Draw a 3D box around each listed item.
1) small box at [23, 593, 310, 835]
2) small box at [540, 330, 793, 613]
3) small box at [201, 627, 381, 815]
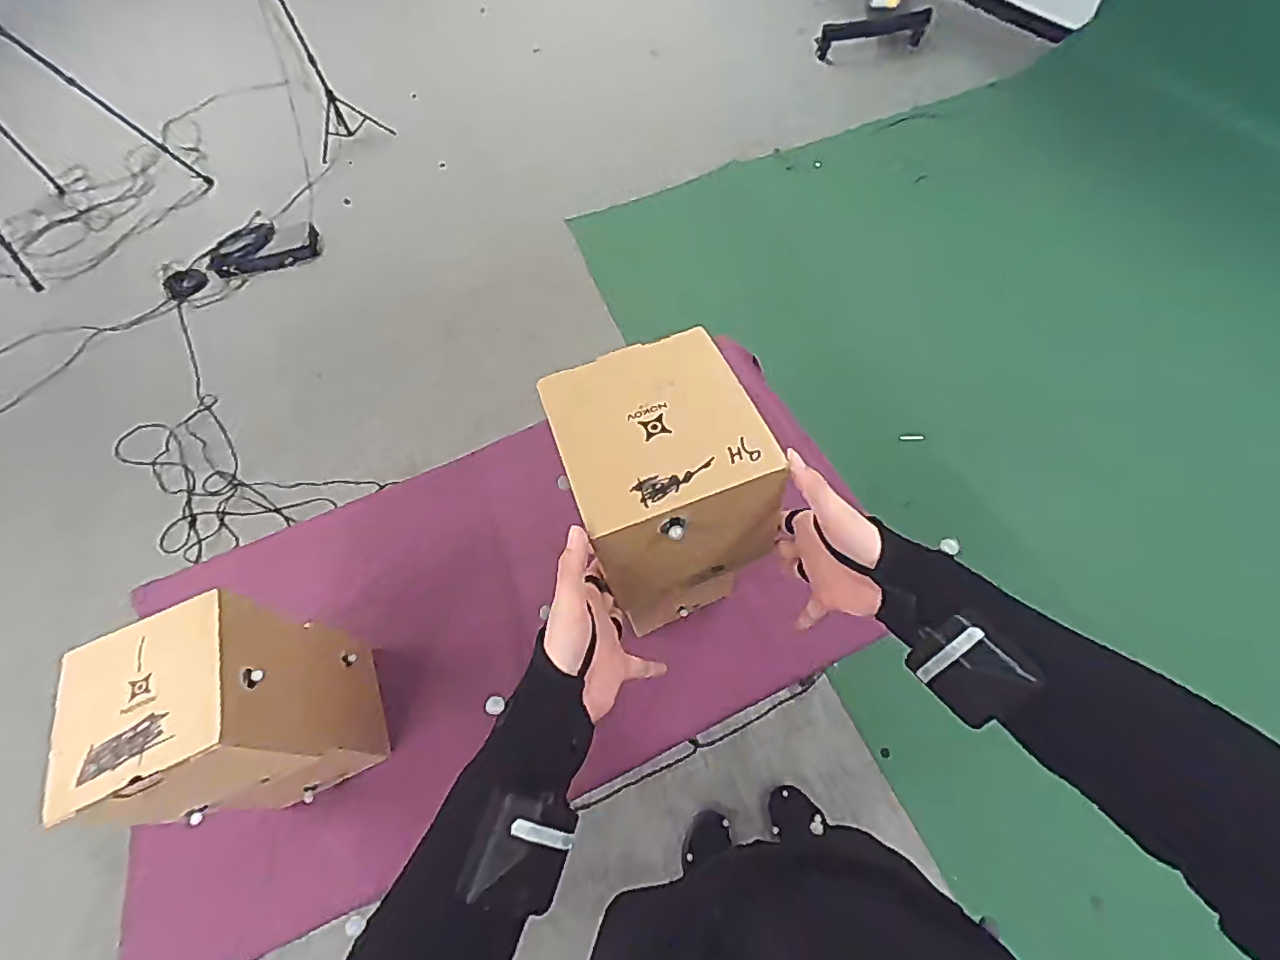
[{"bbox_3d":[-0.495,0.258,0.597,0.168,0.176,0.179,-24,58,-8],"label":"small box"},{"bbox_3d":[0.020,-0.003,0.508,0.168,0.176,0.179,-20,57,-5],"label":"small box"},{"bbox_3d":[-0.484,0.334,0.740,0.168,0.176,0.179,-23,60,-8],"label":"small box"}]
